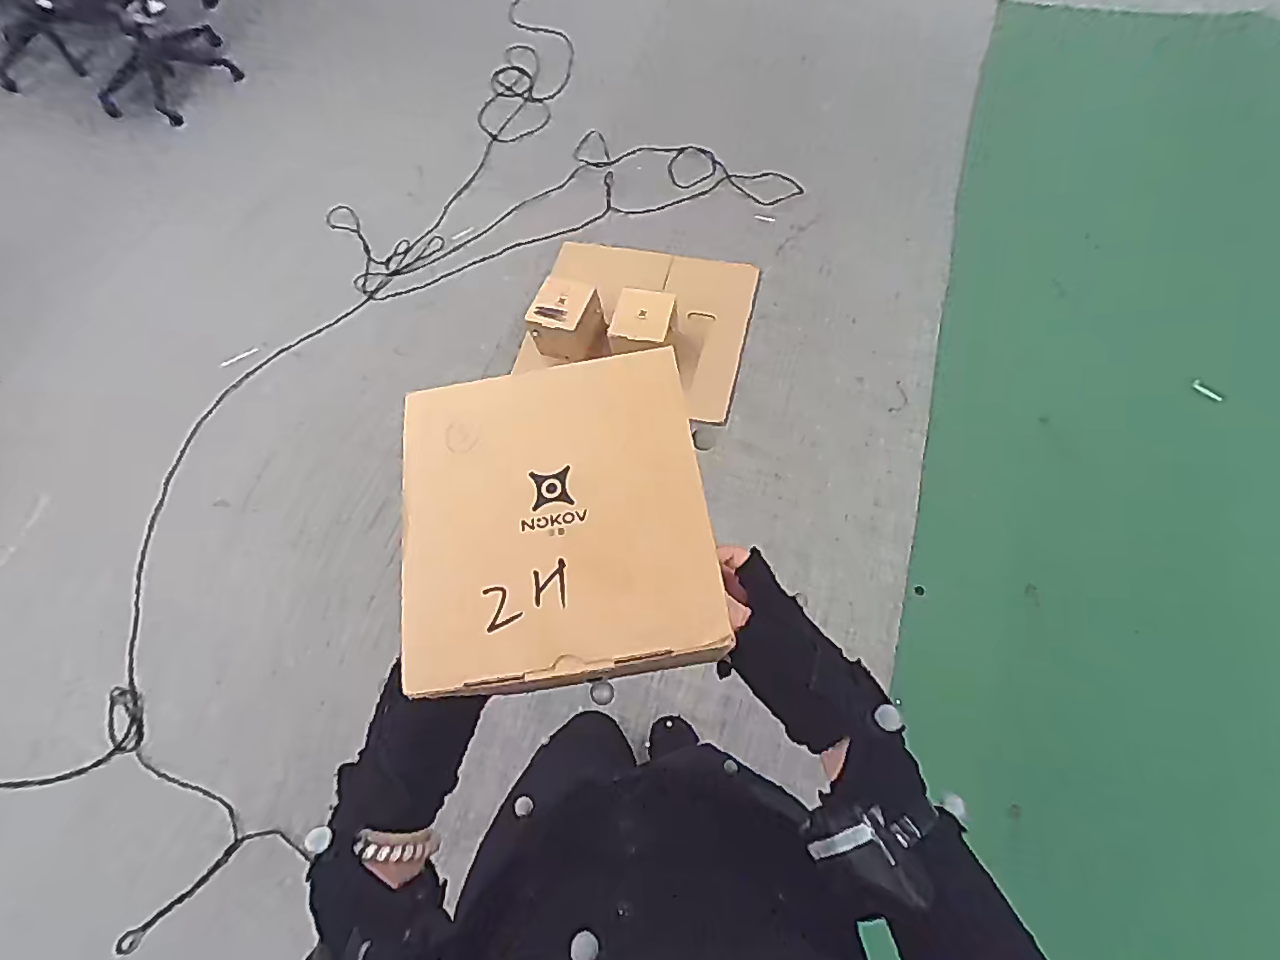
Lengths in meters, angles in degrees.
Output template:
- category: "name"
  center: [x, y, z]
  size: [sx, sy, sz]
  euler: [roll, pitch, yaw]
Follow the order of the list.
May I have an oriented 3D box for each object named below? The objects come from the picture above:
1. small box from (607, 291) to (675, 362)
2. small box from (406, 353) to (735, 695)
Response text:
- category: "small box"
  center: [0.008, -0.434, 1.627]
  size: [0.168, 0.176, 0.179]
  euler: [10, 69, 10]
- category: "small box"
  center: [-0.039, 0.044, 0.369]
  size: [0.168, 0.176, 0.179]
  euler: [-10, 68, 2]
